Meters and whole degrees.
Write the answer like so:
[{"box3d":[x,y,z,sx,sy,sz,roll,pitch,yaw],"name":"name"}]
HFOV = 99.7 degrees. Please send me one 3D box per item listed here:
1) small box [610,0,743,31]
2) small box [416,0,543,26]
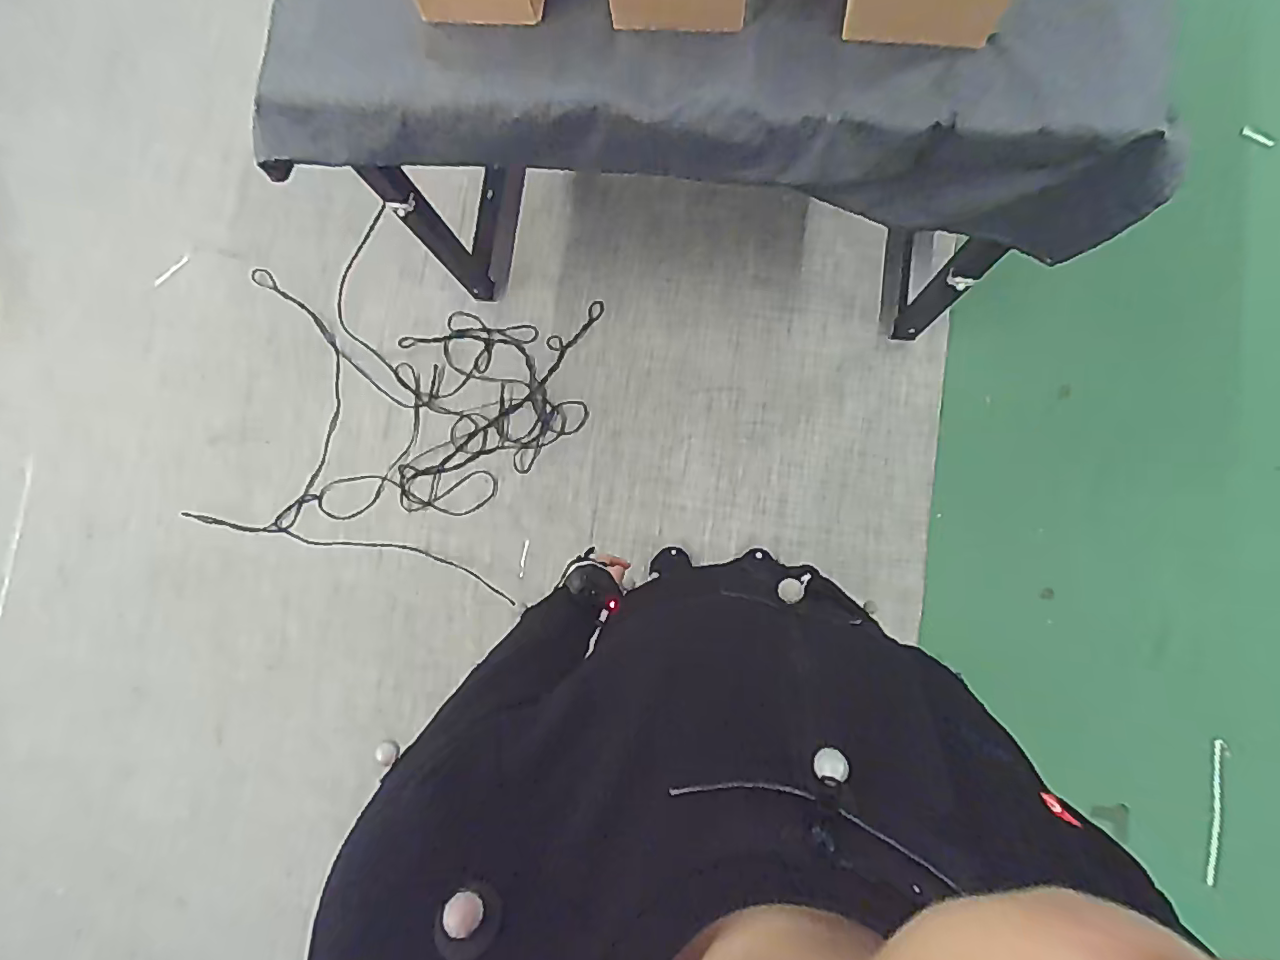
[{"box3d":[0.051,-0.694,0.660,0.179,0.176,0.168,7,83,8],"name":"small box"},{"box3d":[-0.225,-0.733,0.695,0.179,0.176,0.168,6,84,6],"name":"small box"}]
